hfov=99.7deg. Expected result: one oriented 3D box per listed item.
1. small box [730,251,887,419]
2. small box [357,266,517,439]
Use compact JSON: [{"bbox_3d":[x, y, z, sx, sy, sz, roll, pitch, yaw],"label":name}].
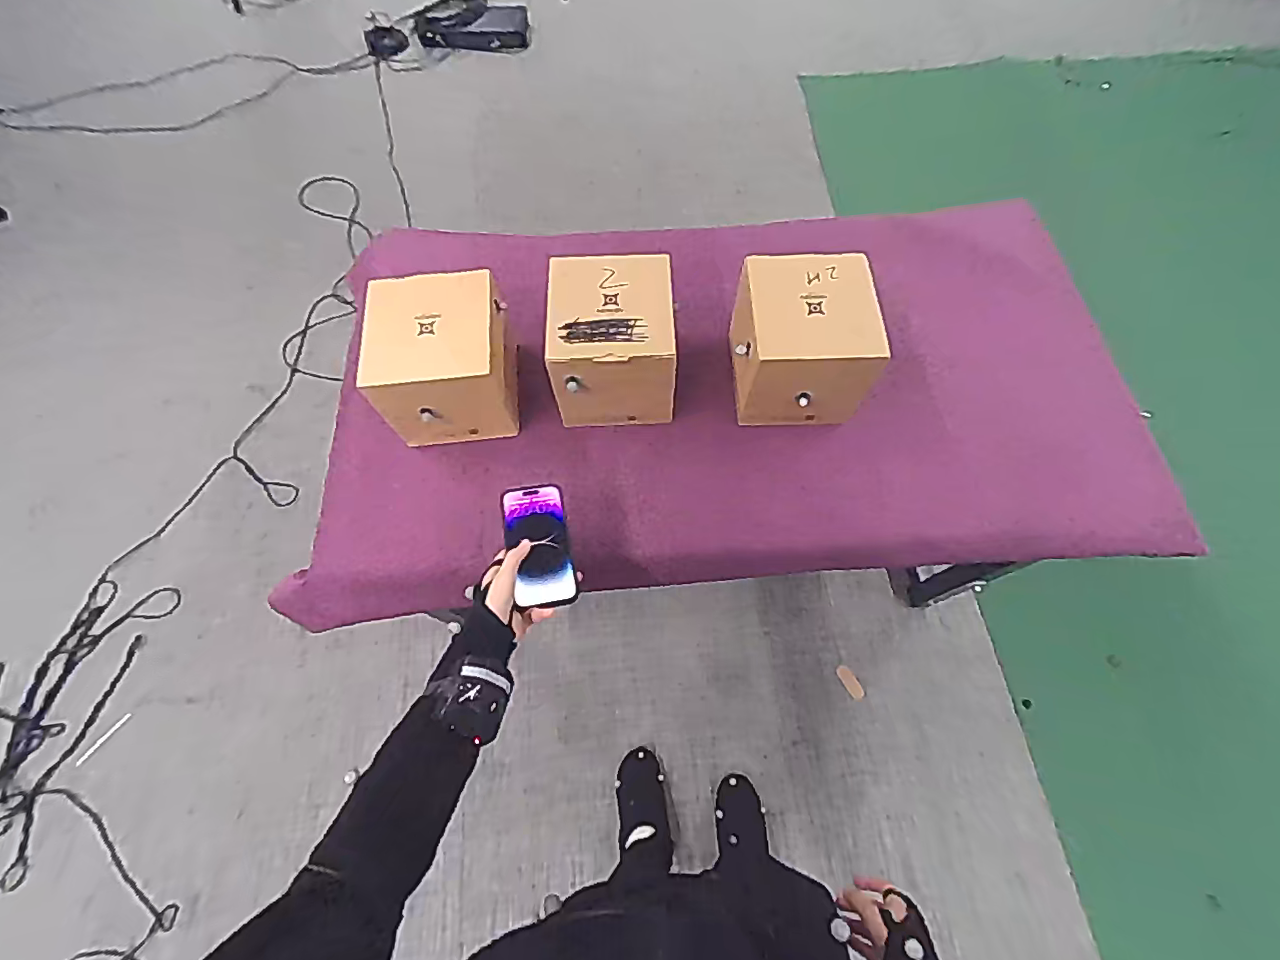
[{"bbox_3d":[0.225,-0.199,0.774,0.168,0.176,0.179,-1,66,0],"label":"small box"},{"bbox_3d":[-0.274,-0.170,0.769,0.168,0.176,0.179,-7,65,-2],"label":"small box"}]
